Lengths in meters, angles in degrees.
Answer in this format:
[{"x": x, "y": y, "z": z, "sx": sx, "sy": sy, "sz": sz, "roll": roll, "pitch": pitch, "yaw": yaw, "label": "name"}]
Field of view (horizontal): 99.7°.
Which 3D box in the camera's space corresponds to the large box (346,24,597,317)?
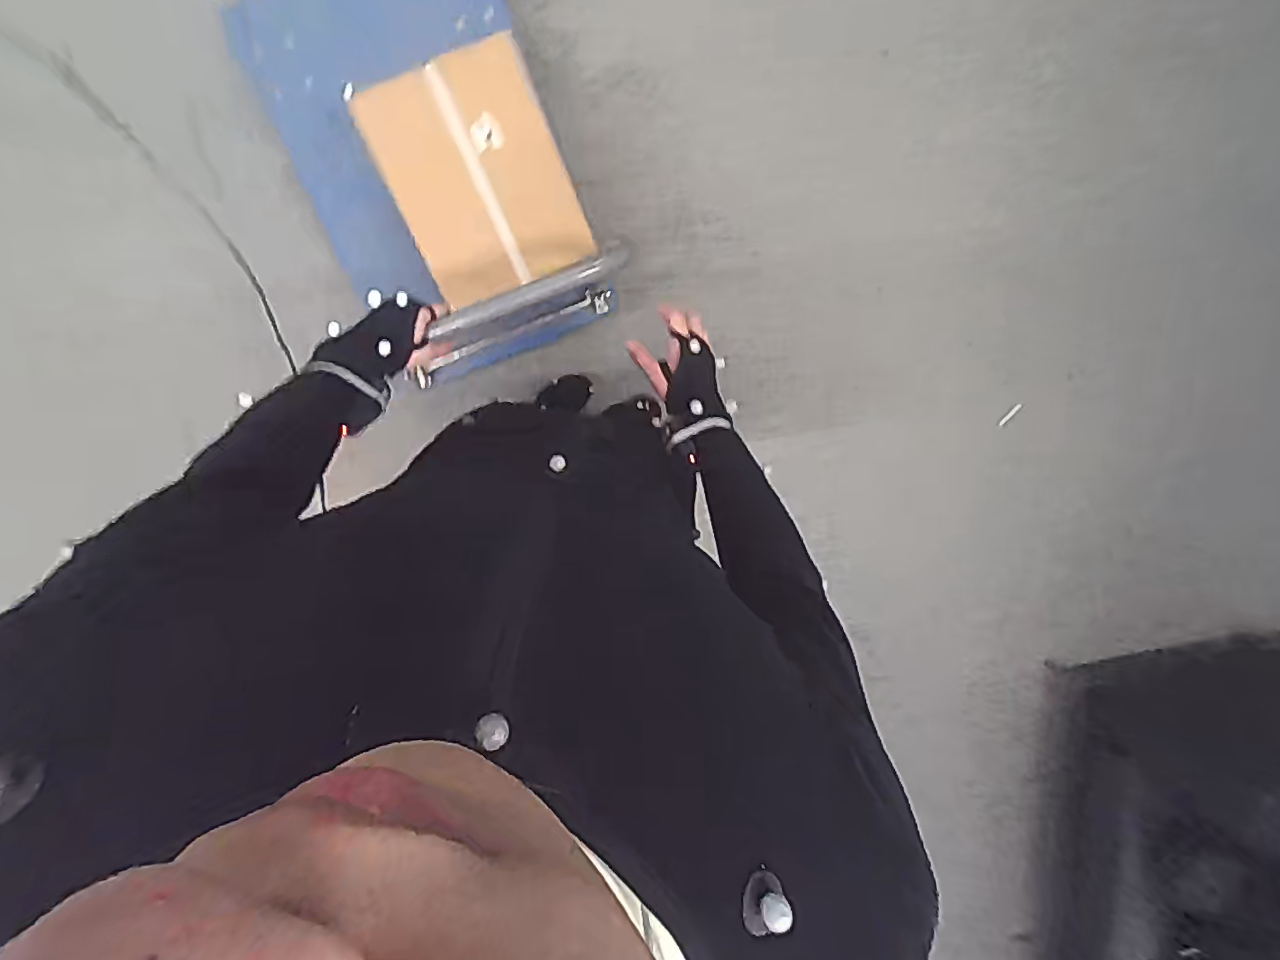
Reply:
[{"x": -0.314, "y": -0.598, "z": 1.134, "sx": 0.320, "sy": 0.320, "sz": 0.408, "roll": -24, "pitch": 106, "yaw": -3, "label": "large box"}]
